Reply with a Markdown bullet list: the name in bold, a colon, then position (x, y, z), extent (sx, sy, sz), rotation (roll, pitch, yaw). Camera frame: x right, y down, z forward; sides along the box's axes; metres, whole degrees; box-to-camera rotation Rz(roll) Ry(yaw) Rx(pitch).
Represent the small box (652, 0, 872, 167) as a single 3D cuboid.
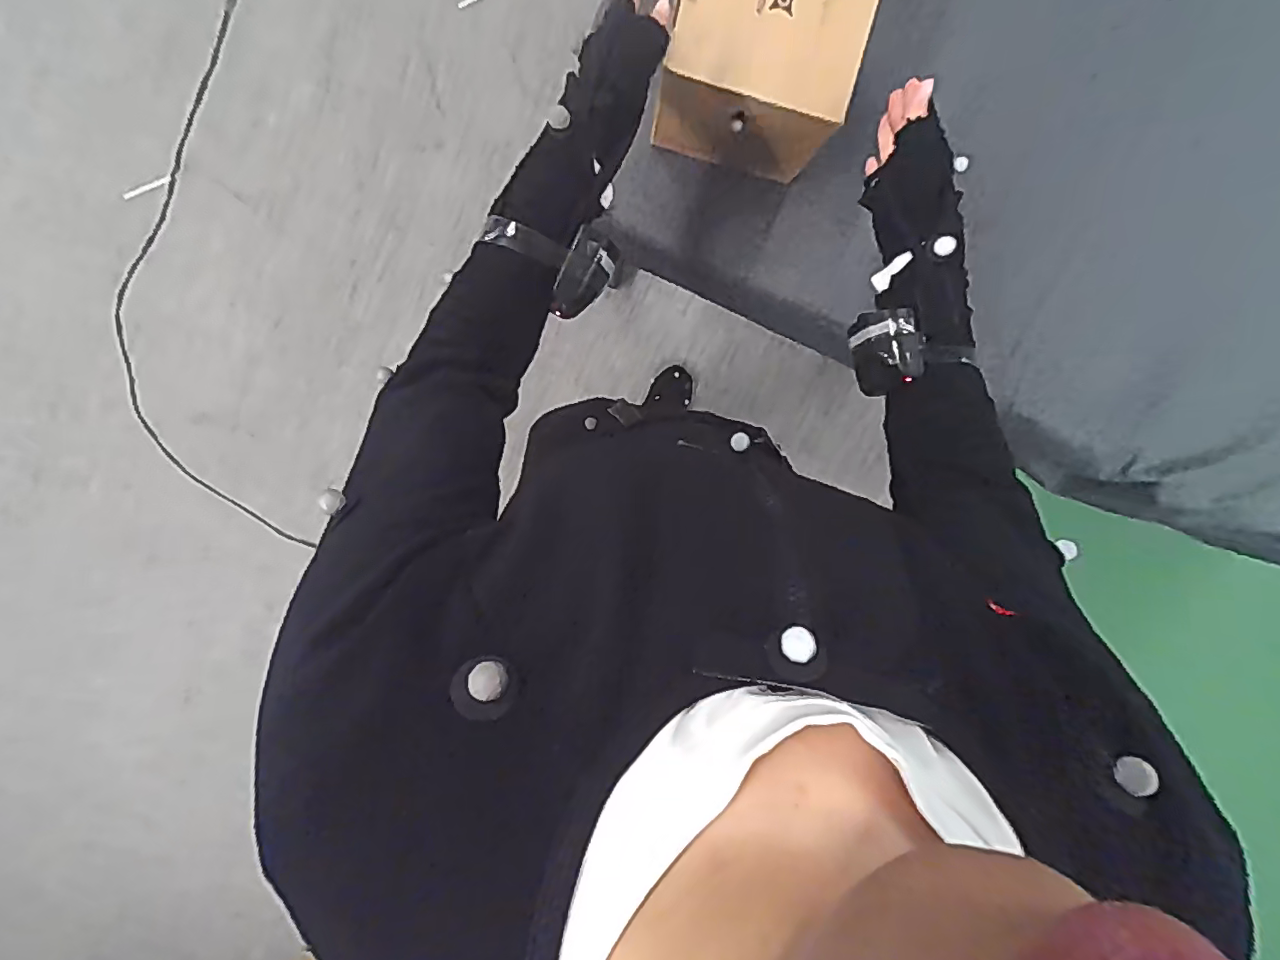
- **small box**: position (0.116, -0.452, 0.556), extent (0.179, 0.176, 0.168), rotation (12, 102, -7)
